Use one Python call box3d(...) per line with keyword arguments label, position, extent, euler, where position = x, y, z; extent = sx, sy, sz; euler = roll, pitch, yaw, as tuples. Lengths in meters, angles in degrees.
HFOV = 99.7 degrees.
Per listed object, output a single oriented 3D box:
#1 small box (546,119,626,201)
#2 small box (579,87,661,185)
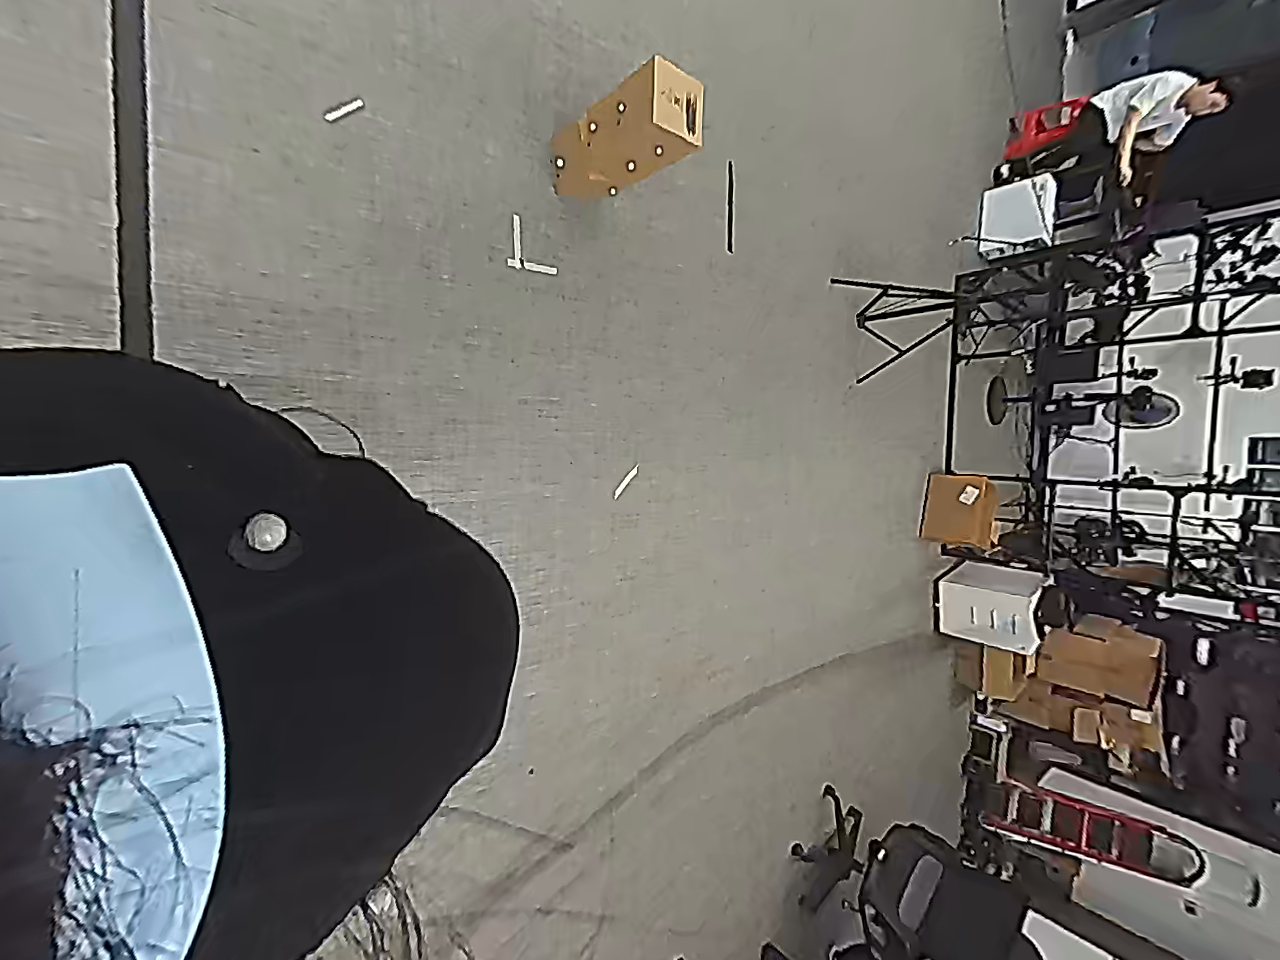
box3d(label="small box", position=(-0.171, -0.999, 1.705), extent=(0.179, 0.176, 0.168), euler=(-18, 104, -39))
box3d(label="small box", position=(-0.058, -0.996, 1.587), extent=(0.179, 0.176, 0.168), euler=(-2, 95, -41))
